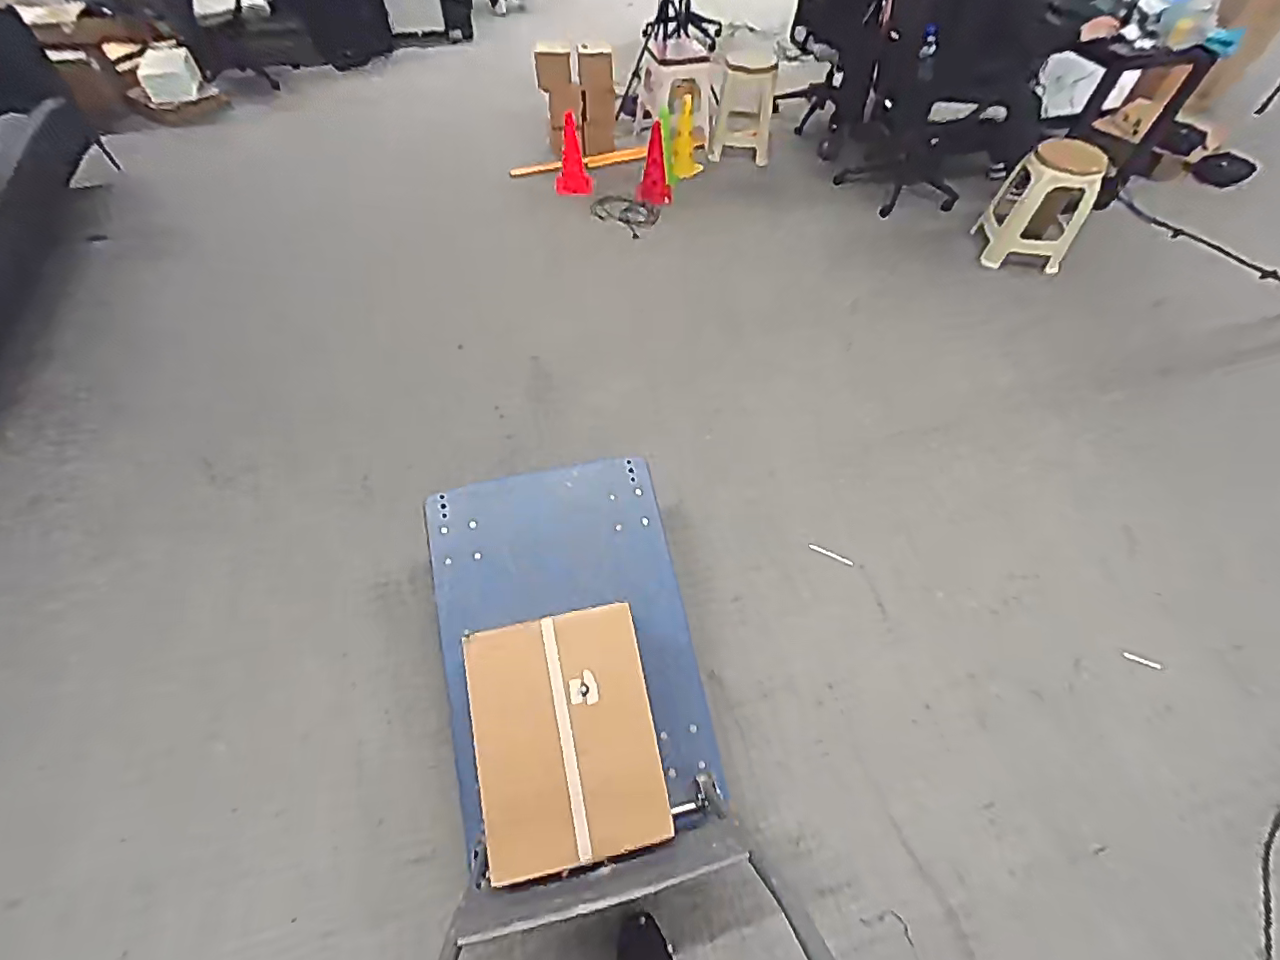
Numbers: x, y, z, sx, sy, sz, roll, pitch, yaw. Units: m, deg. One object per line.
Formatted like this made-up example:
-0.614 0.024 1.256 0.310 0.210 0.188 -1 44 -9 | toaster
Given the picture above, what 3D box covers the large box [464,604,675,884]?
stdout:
-0.142 0.495 1.098 0.320 0.320 0.408 -10 74 -9 | large box
